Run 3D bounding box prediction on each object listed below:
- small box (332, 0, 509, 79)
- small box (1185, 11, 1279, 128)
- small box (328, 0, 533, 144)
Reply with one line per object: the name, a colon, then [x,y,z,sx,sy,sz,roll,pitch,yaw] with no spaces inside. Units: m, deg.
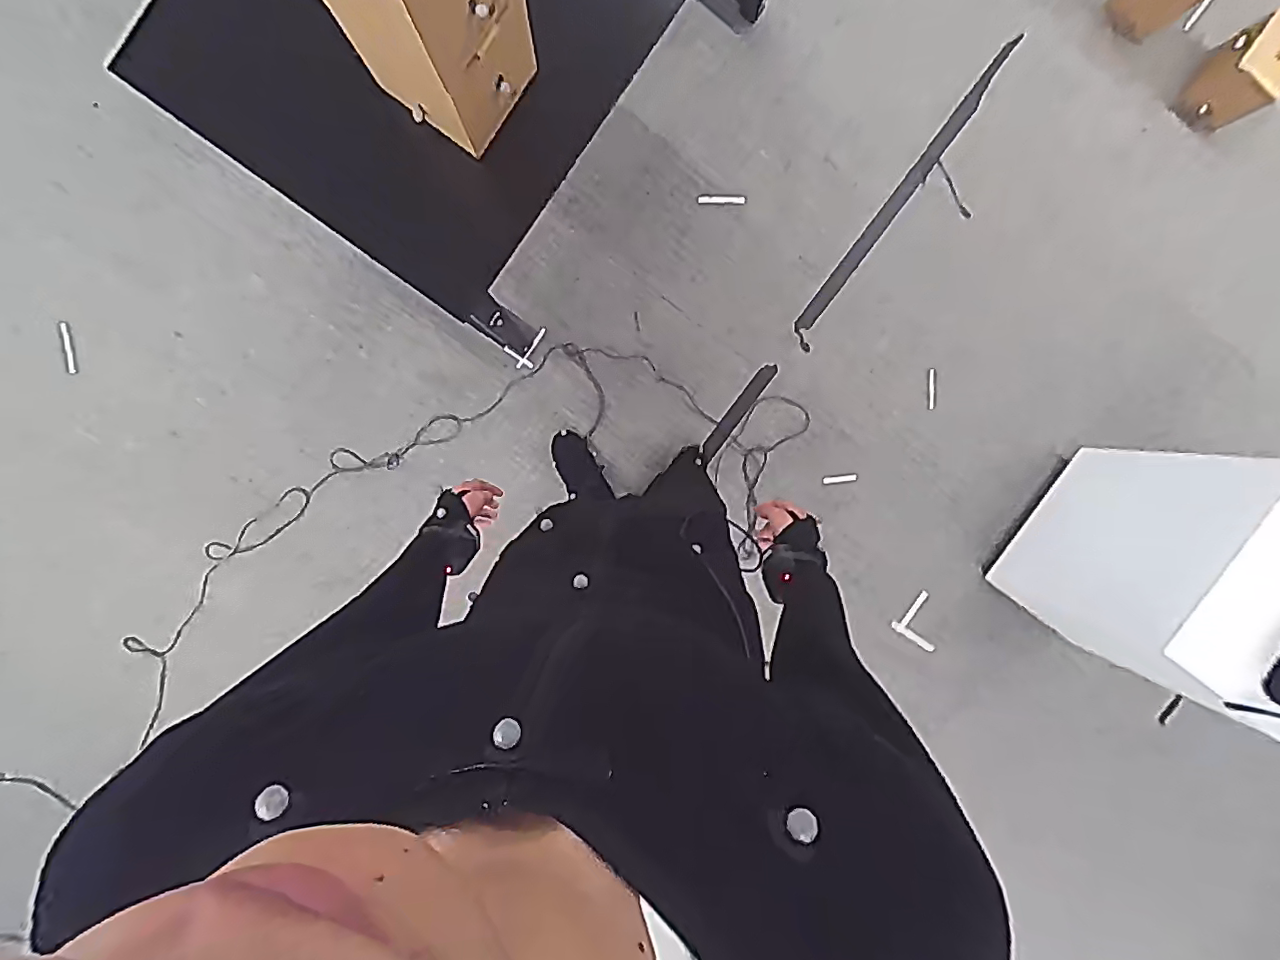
small box: [-0.251,-0.578,0.562,0.179,0.176,0.168,34,94,-7]
small box: [1.740,-1.164,1.542,0.168,0.176,0.179,34,94,-6]
small box: [-0.262,-0.596,0.726,0.179,0.176,0.168,33,93,-7]
